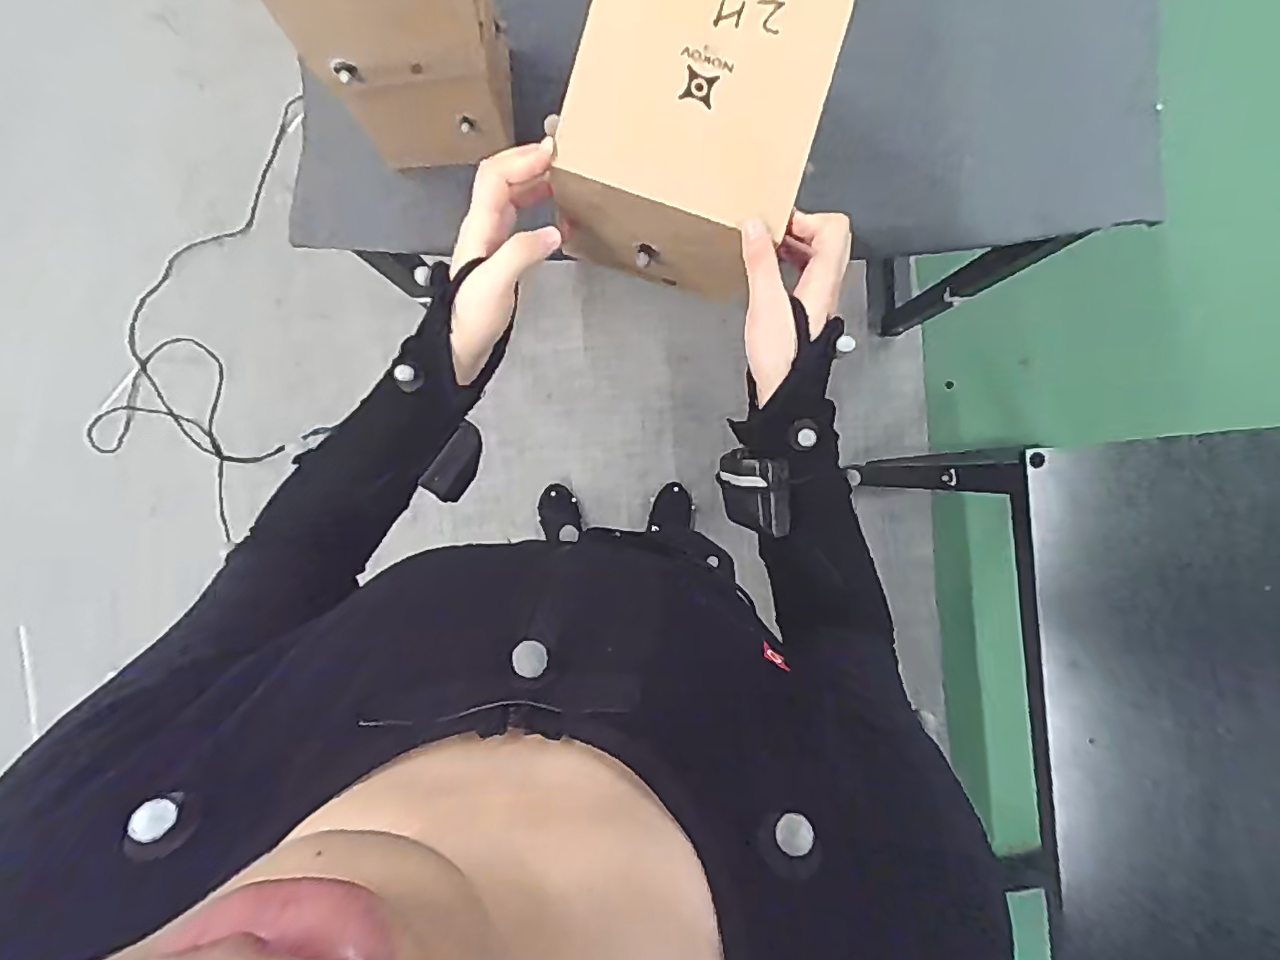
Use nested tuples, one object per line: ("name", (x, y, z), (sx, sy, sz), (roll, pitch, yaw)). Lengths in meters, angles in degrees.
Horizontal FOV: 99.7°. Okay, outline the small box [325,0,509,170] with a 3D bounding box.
("small box", (-0.269, -0.520, 0.679), (0.179, 0.176, 0.168), (-5, 89, 0))
